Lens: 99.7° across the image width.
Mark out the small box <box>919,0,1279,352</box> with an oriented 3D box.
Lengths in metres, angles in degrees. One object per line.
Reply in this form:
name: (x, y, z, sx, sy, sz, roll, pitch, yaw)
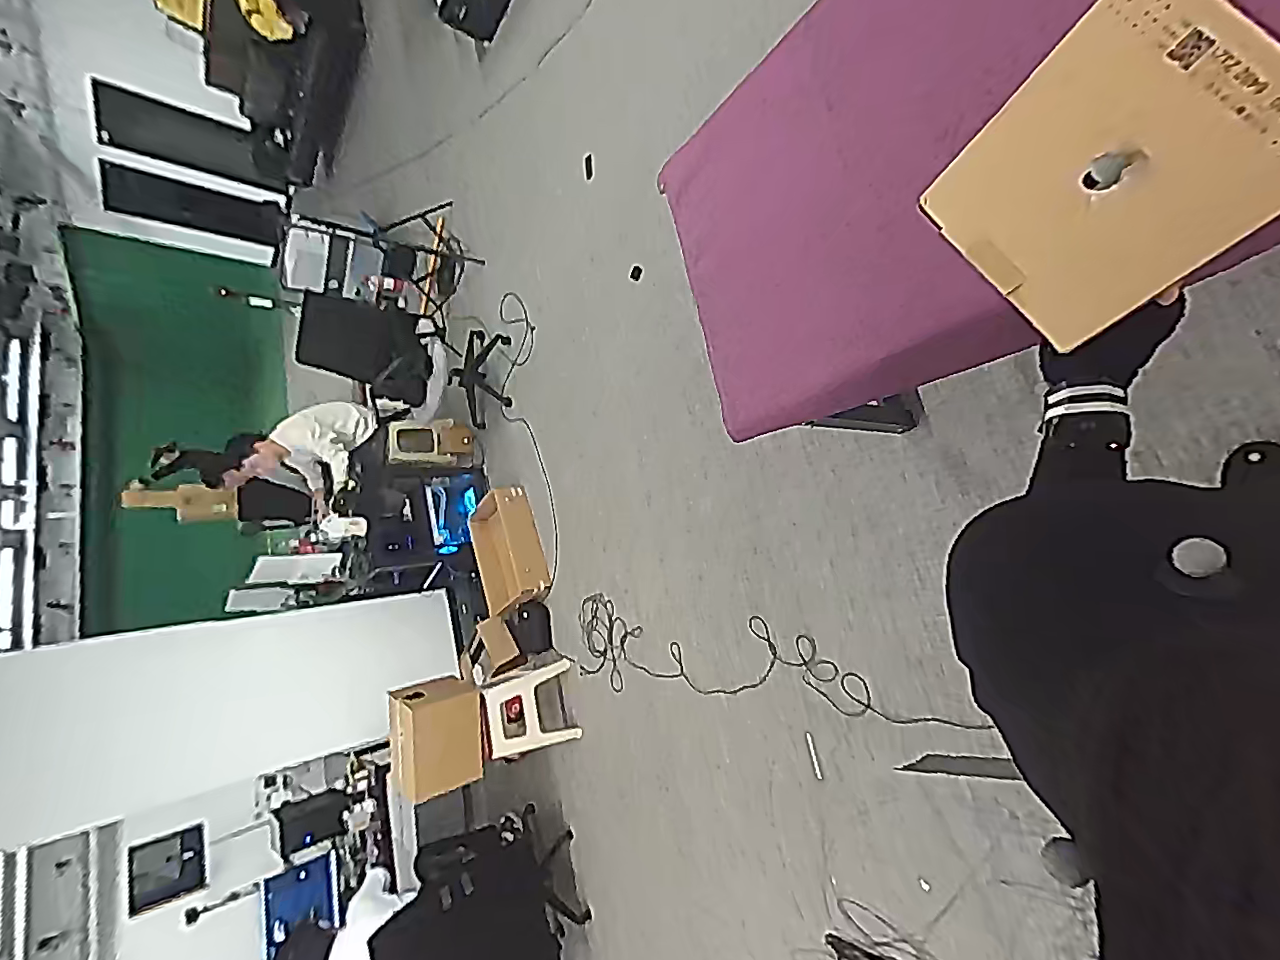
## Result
small box: (0.350, -0.222, 0.380, 0.168, 0.179, 0.176, 56, 145, 12)
